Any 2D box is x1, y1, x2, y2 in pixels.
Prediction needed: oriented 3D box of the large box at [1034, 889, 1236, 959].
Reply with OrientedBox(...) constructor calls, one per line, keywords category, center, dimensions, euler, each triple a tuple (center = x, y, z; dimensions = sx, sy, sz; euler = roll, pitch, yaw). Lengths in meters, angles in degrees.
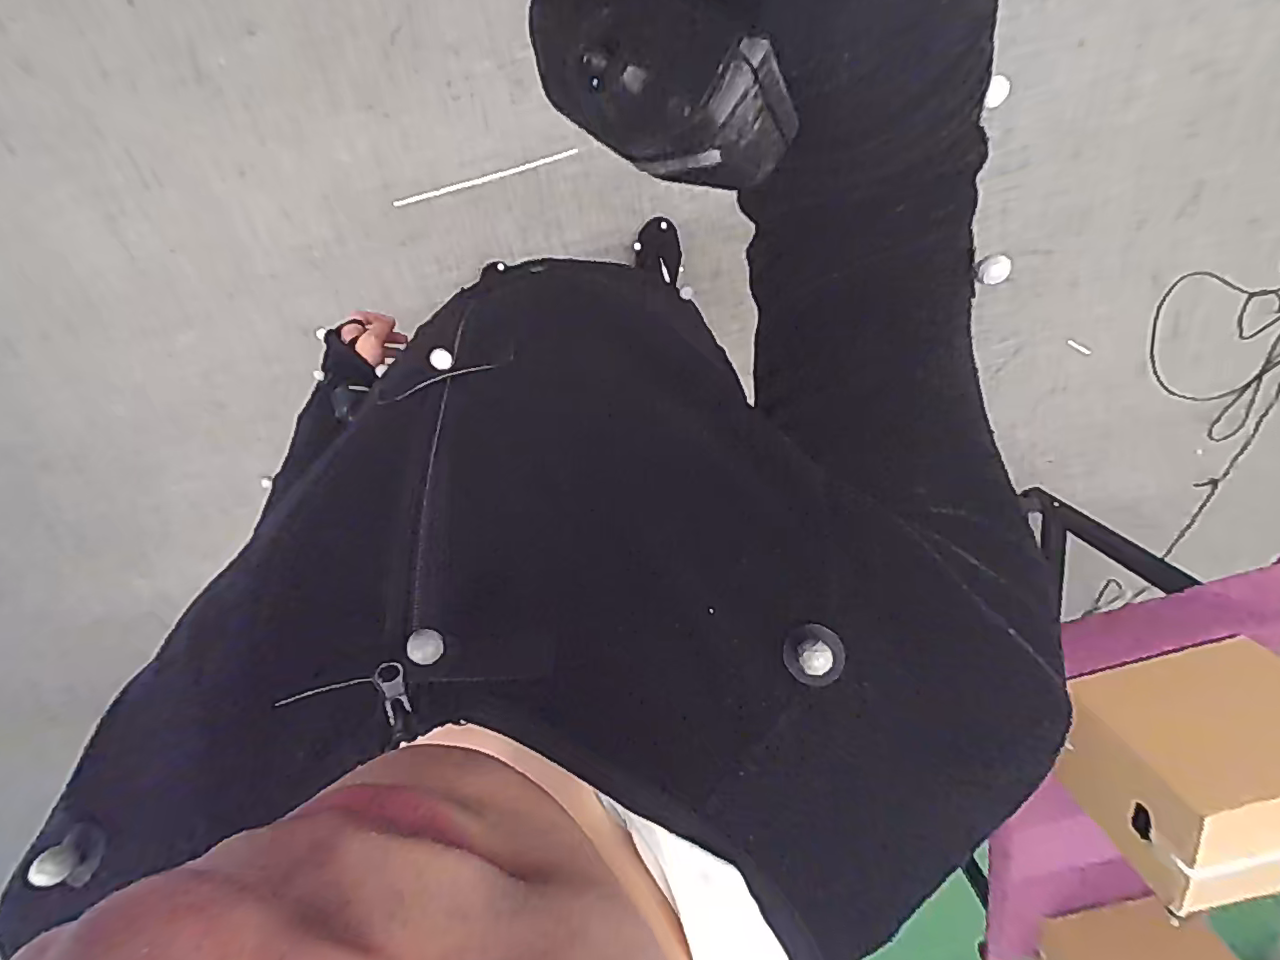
OrientedBox(category="large box", center=(1.411, 1.429, 1.506), dimensions=(0.408, 0.320, 0.320), euler=(-14, 113, 2))
